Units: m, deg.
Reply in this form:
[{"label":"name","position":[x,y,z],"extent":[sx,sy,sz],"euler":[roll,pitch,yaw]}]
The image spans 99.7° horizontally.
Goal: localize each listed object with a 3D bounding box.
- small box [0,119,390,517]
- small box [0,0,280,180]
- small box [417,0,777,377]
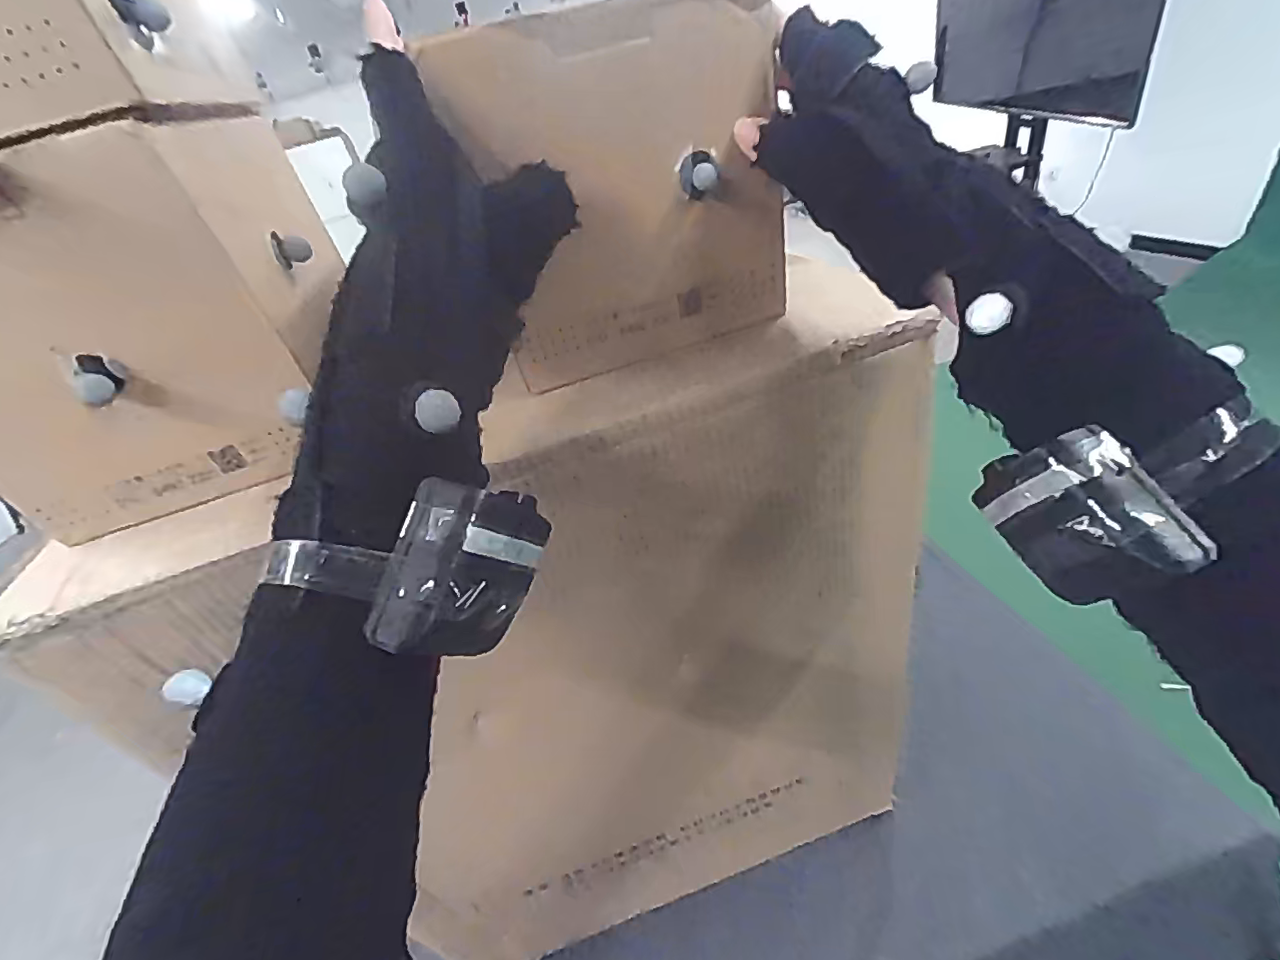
[{"label":"small box","position":[-0.273,-0.098,0.324],"extent":[0.168,0.176,0.179],"euler":[-19,38,-4]},{"label":"small box","position":[-0.301,-0.211,0.231],"extent":[0.179,0.176,0.168],"euler":[-20,36,-5]},{"label":"small box","position":[-0.023,-0.181,0.345],"extent":[0.168,0.176,0.179],"euler":[-18,35,-7]}]
